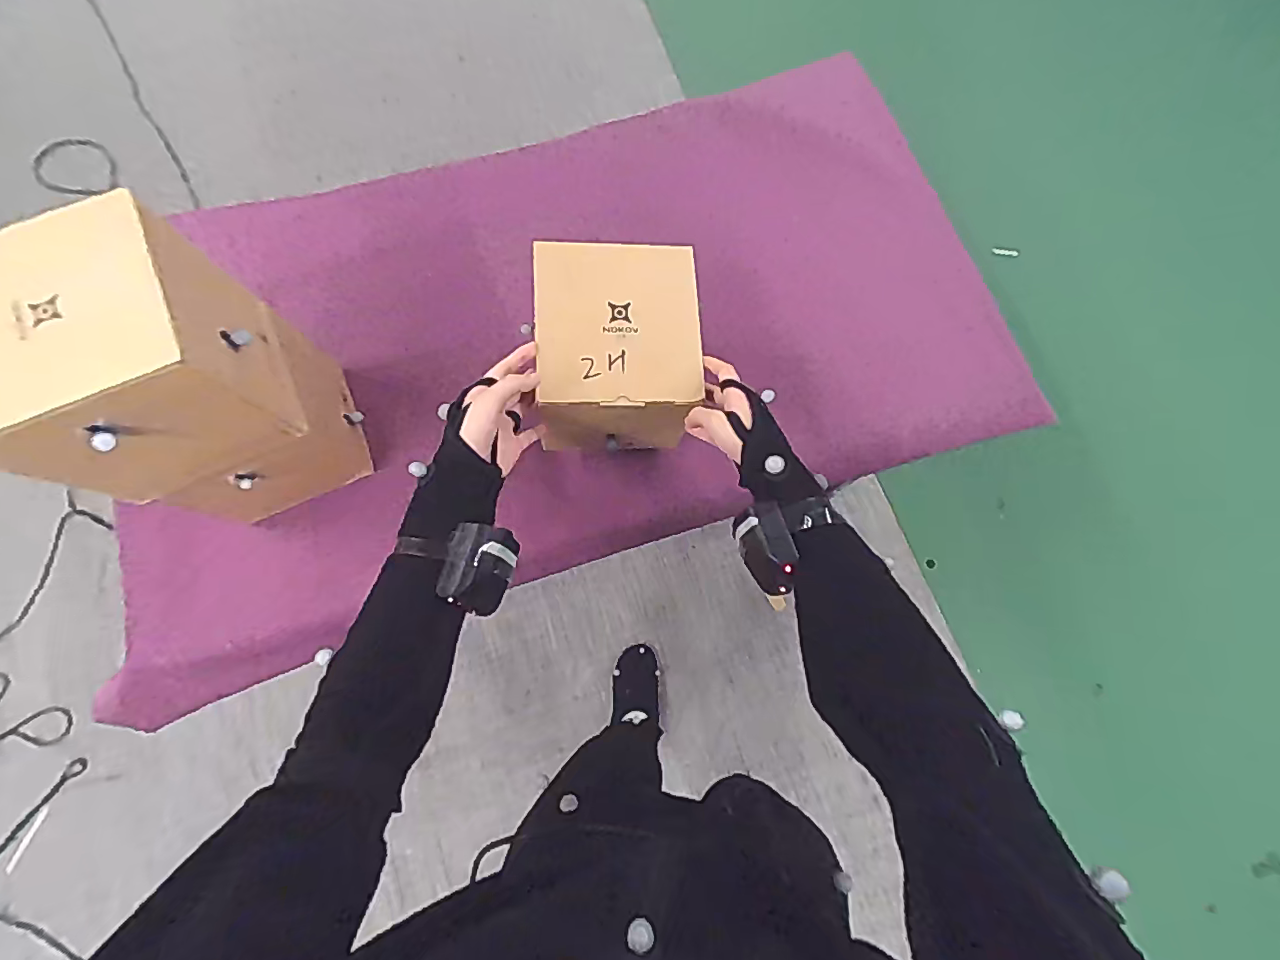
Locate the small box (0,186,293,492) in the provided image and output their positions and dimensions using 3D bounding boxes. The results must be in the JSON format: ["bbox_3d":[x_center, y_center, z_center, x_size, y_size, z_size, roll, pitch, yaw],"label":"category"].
[{"bbox_3d":[-0.447,-0.107,0.477,0.179,0.176,0.168,-25,79,-6],"label":"small box"}]

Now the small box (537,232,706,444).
[{"bbox_3d":[-0.030,-0.146,0.608,0.168,0.176,0.179,-1,80,-8],"label":"small box"}]

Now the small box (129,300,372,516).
[{"bbox_3d":[-0.455,-0.071,0.635,0.179,0.176,0.168,-23,78,-7],"label":"small box"}]
